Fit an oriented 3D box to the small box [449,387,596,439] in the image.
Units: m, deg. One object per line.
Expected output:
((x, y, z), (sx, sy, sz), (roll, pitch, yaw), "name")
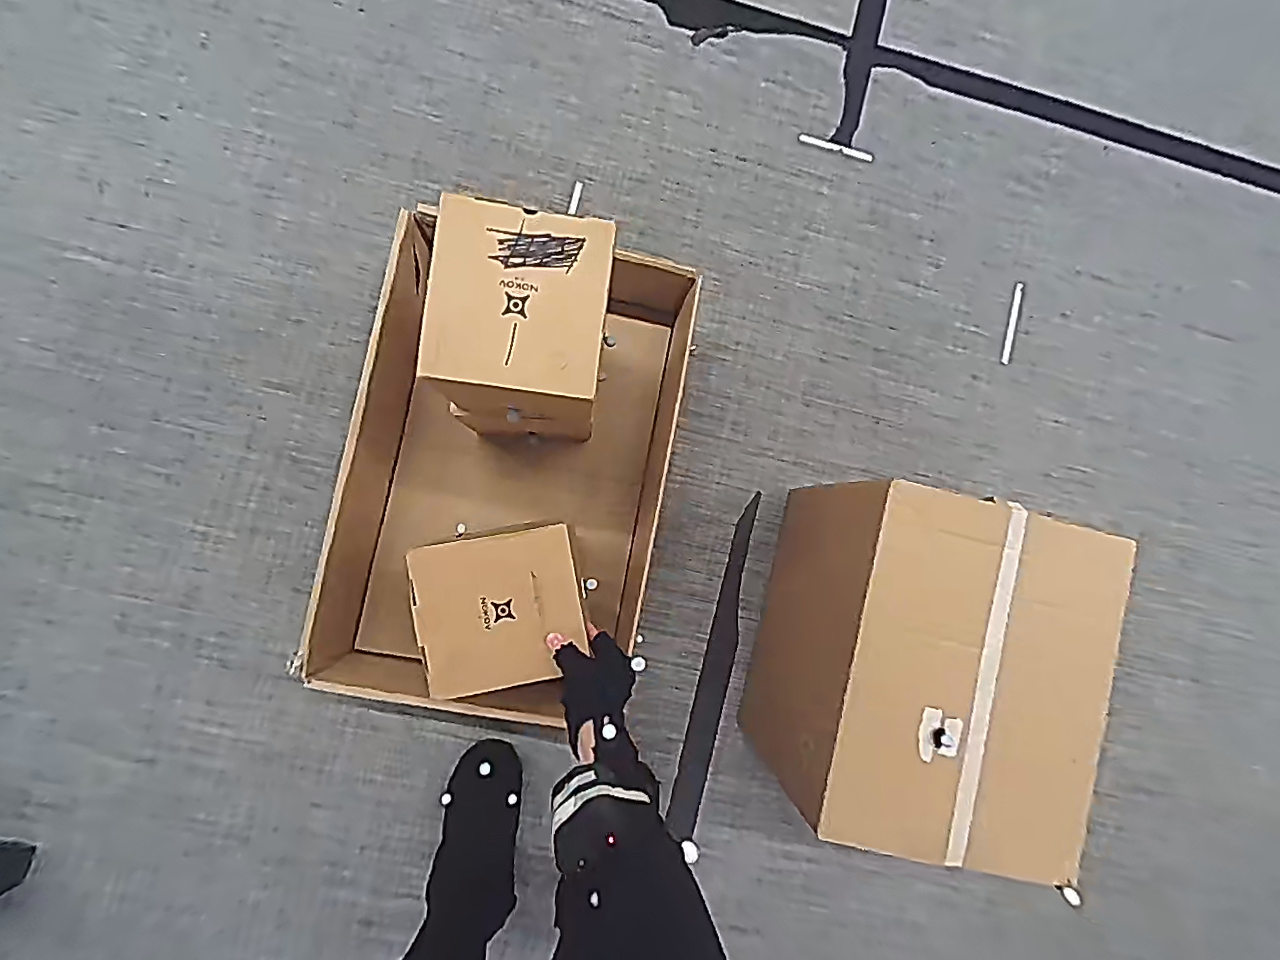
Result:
((-0.150, -0.150, 0.744), (0.179, 0.176, 0.168), (3, 87, -6), "small box")

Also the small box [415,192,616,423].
((-0.122, -0.168, 0.581), (0.168, 0.176, 0.179), (7, 87, -5), "small box")

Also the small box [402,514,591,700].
((-0.157, 0.138, 0.651), (0.179, 0.176, 0.168), (-11, 91, -5), "small box")

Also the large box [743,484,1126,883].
((0.367, 0.233, 0.754), (0.320, 0.320, 0.408), (14, 86, -4), "large box")
